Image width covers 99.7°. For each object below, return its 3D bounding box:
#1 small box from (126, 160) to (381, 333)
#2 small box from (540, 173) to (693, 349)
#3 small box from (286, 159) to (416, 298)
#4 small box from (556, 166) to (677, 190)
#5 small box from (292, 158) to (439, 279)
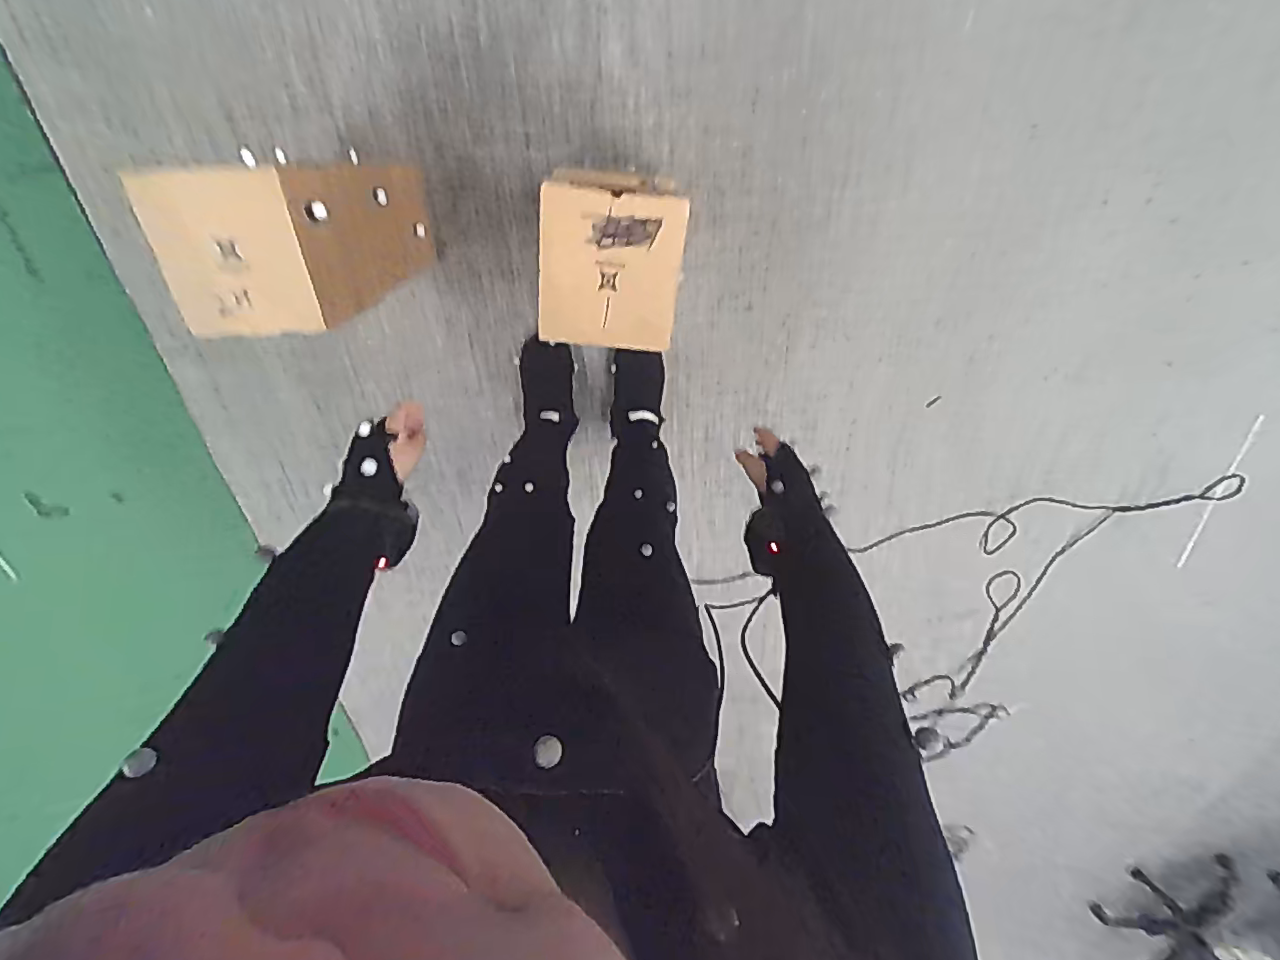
[{"bbox_3d":[-0.453,-0.292,0.672,0.168,0.176,0.179,-2,120,1],"label":"small box"},{"bbox_3d":[-0.035,-0.285,0.693,0.168,0.176,0.179,4,122,-5],"label":"small box"},{"bbox_3d":[-0.460,-0.378,0.812,0.168,0.176,0.179,-2,122,1],"label":"small box"},{"bbox_3d":[-0.042,-0.376,0.830,0.168,0.176,0.179,3,121,-4],"label":"small box"},{"bbox_3d":[-0.469,-0.462,0.951,0.168,0.176,0.179,0,121,-2],"label":"small box"}]
